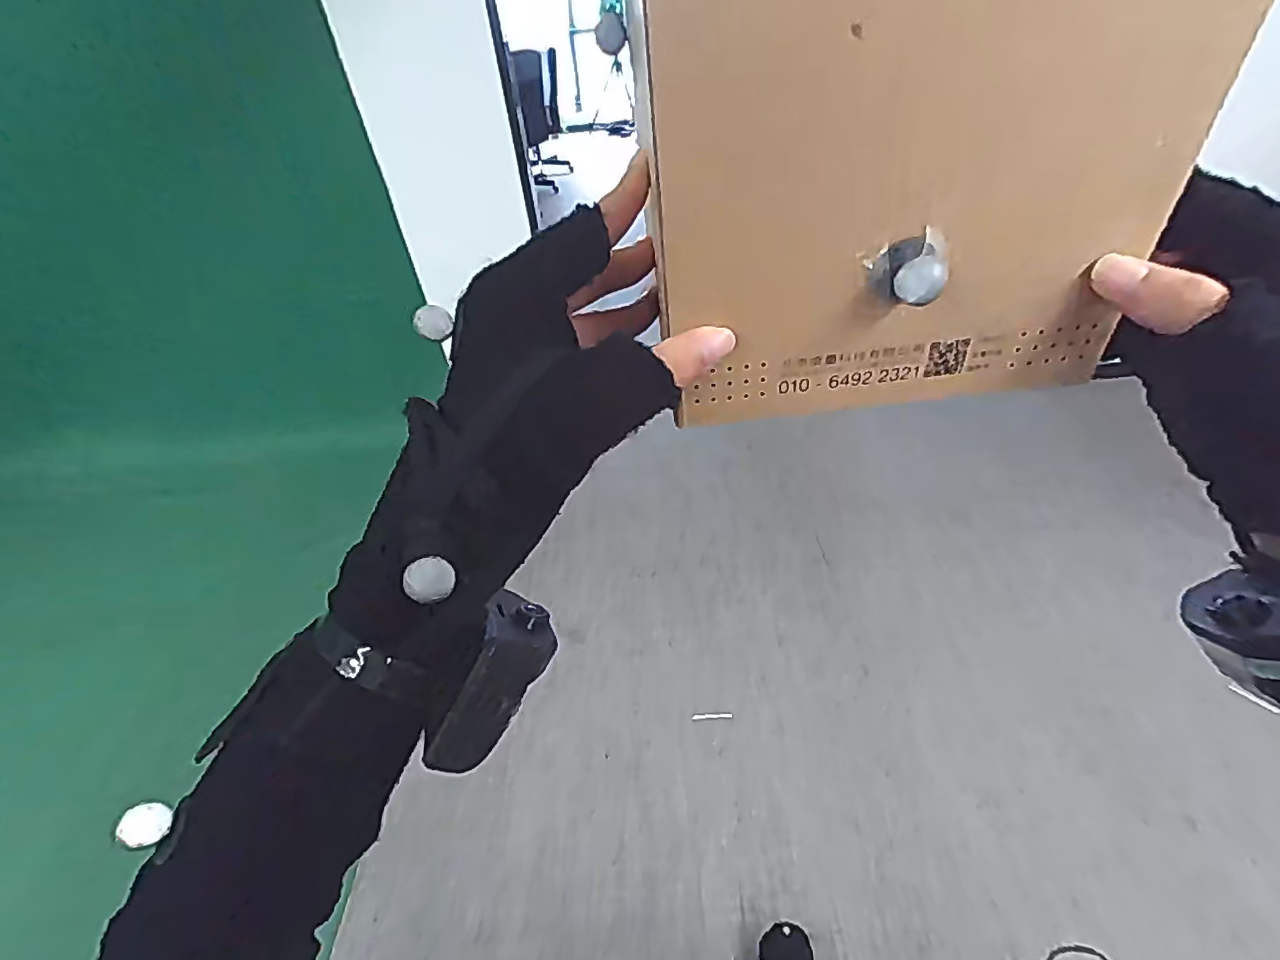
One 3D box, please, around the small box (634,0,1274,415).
[{"bbox_3d":[0.084,-0.147,0.228,0.168,0.176,0.179,-6,41,2],"label":"small box"}]
